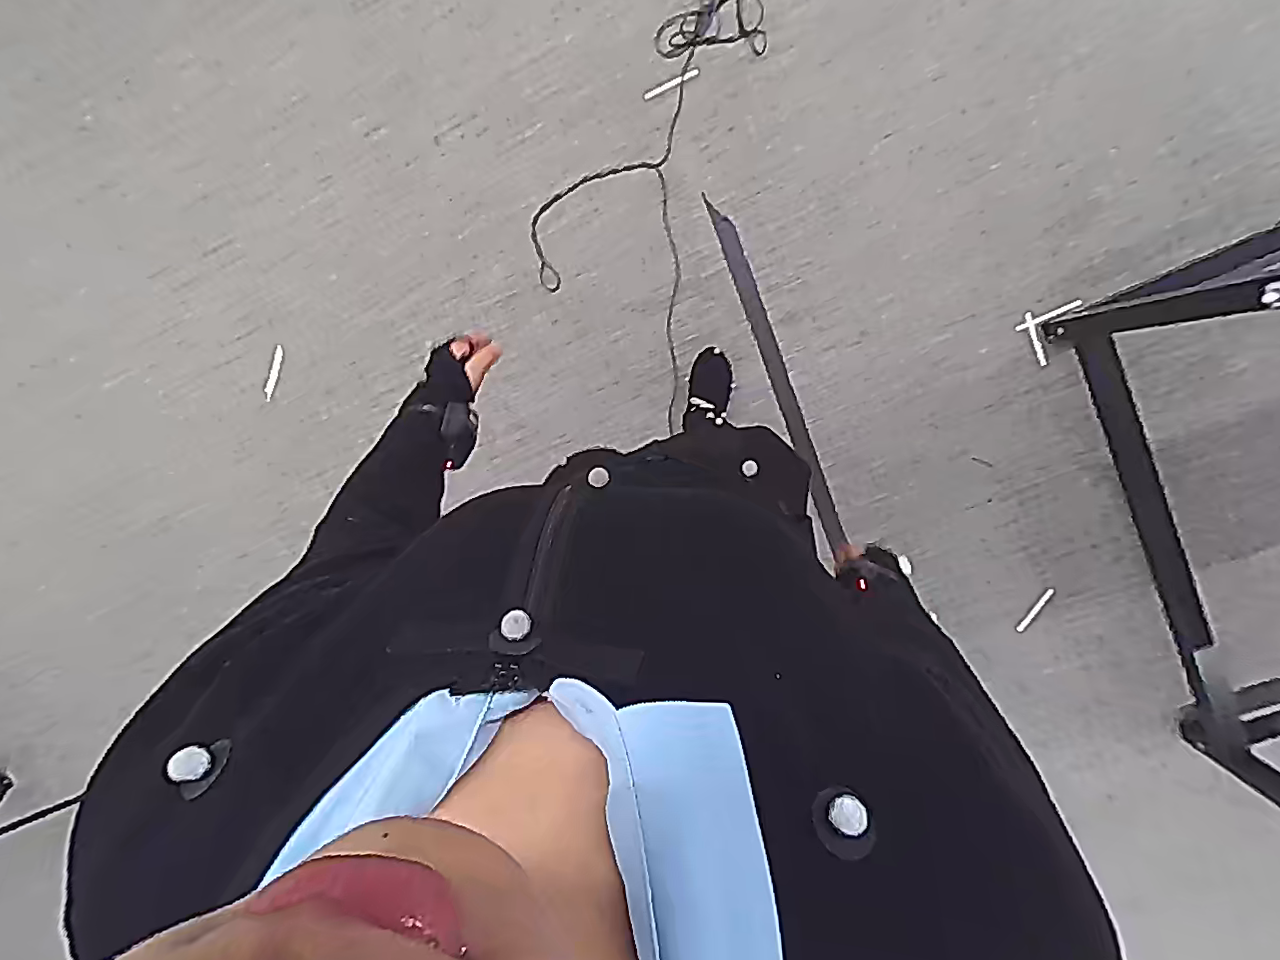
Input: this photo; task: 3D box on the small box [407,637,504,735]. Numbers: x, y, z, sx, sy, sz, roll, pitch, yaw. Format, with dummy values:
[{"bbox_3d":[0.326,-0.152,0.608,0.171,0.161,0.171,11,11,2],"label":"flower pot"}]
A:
[{"bbox_3d":[-0.498,0.563,1.498,0.179,0.176,0.168,-24,96,9],"label":"small box"}]
